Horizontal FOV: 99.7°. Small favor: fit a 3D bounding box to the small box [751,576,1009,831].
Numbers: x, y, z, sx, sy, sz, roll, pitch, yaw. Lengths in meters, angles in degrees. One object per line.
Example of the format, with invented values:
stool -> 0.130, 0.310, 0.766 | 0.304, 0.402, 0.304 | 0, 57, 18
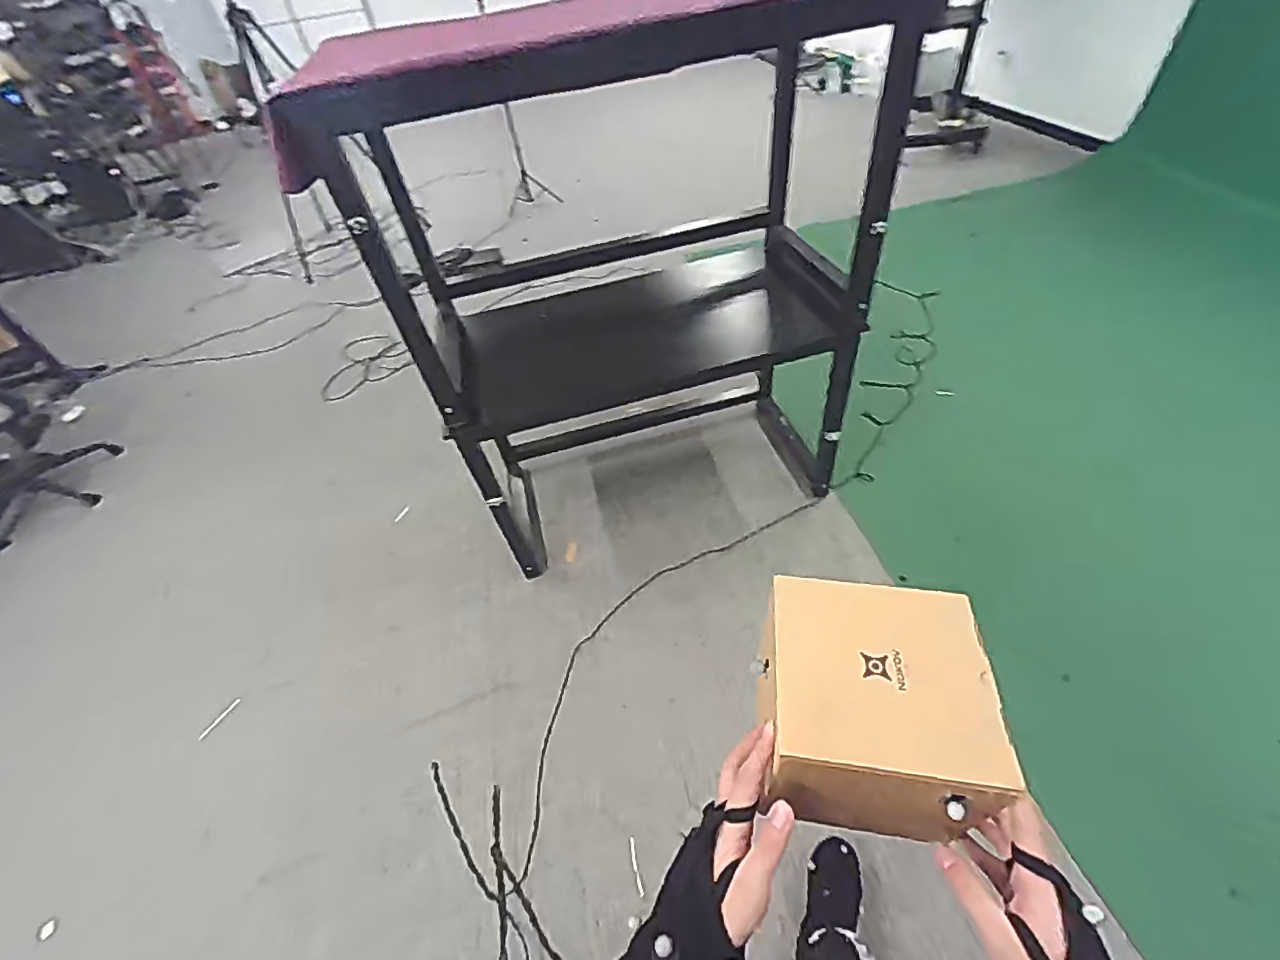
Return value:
small box -> 0.198, 0.211, 0.511 | 0.179, 0.176, 0.168 | 4, 46, 8
